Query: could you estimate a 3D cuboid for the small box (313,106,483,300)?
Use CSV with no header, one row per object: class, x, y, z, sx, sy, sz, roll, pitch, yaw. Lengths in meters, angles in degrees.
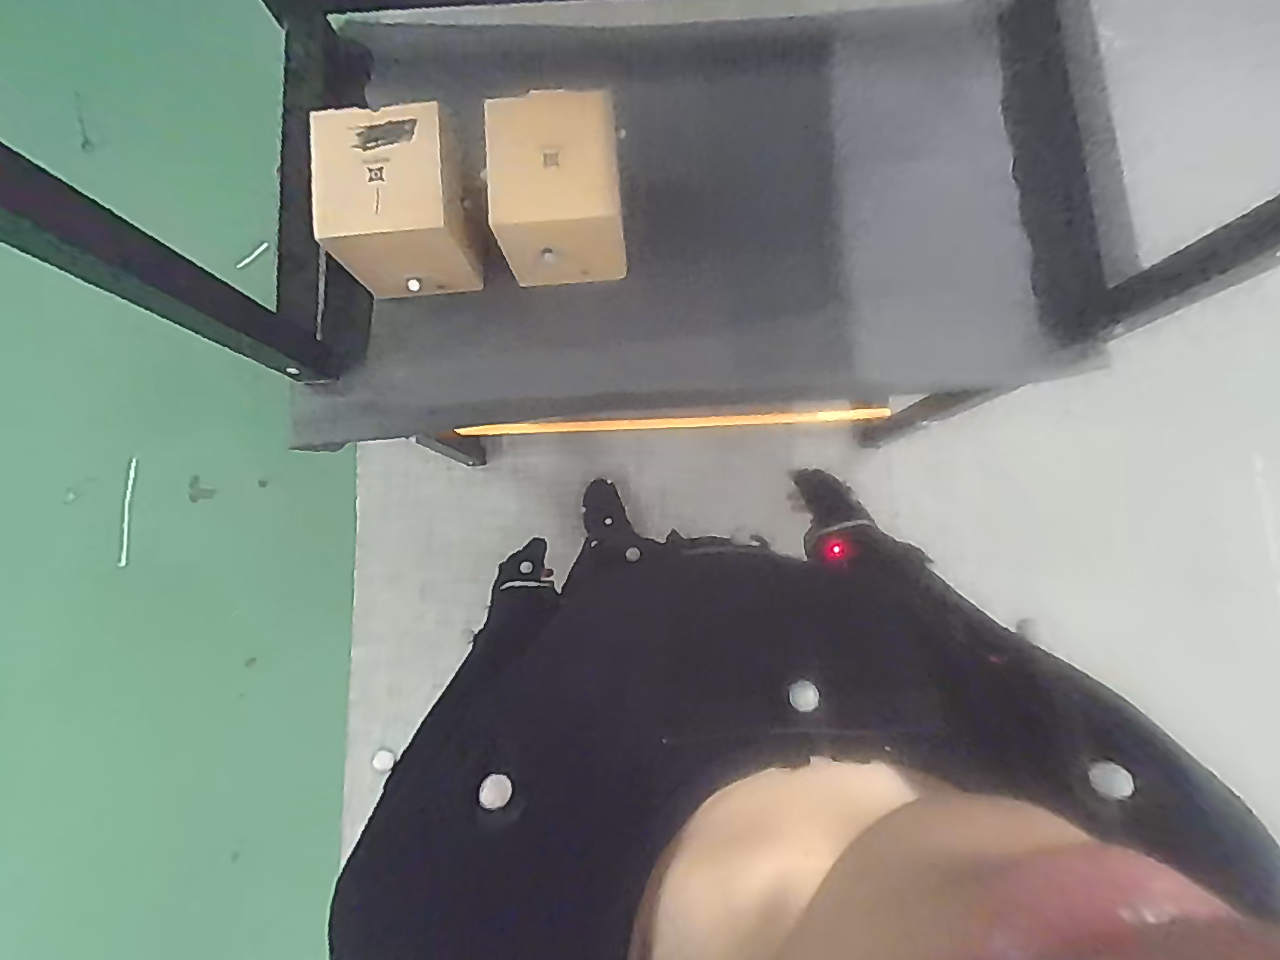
small box,-0.327,-0.376,0.759,0.168,0.176,0.179,-5,83,1
